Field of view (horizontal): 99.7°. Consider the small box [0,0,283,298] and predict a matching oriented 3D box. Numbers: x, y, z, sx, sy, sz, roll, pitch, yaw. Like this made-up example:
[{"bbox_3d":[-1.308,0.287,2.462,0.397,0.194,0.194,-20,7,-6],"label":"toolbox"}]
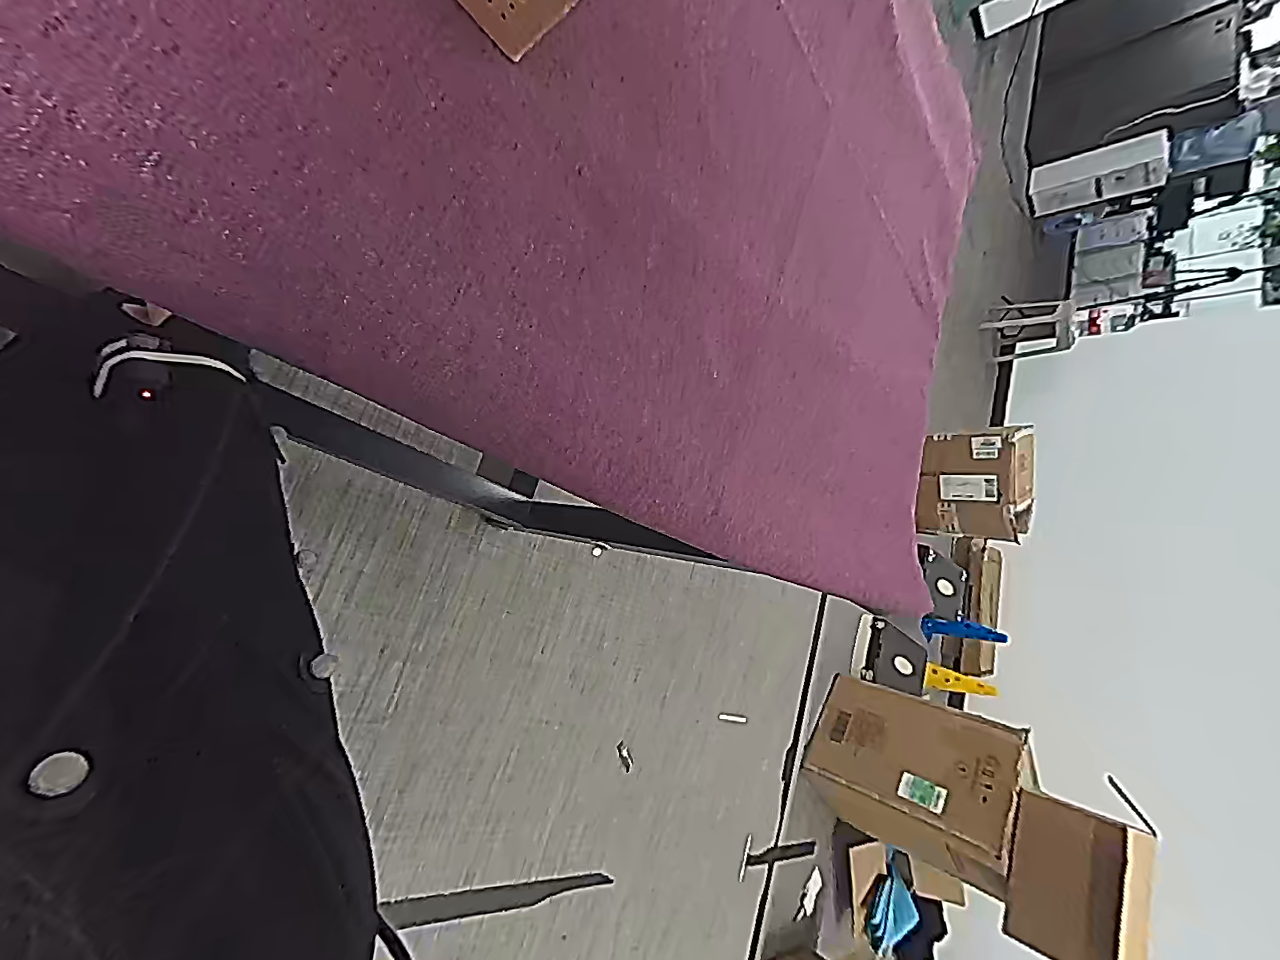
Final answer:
[{"bbox_3d":[-0.512,-0.327,0.556,0.179,0.176,0.168,29,34,-43],"label":"small box"}]
